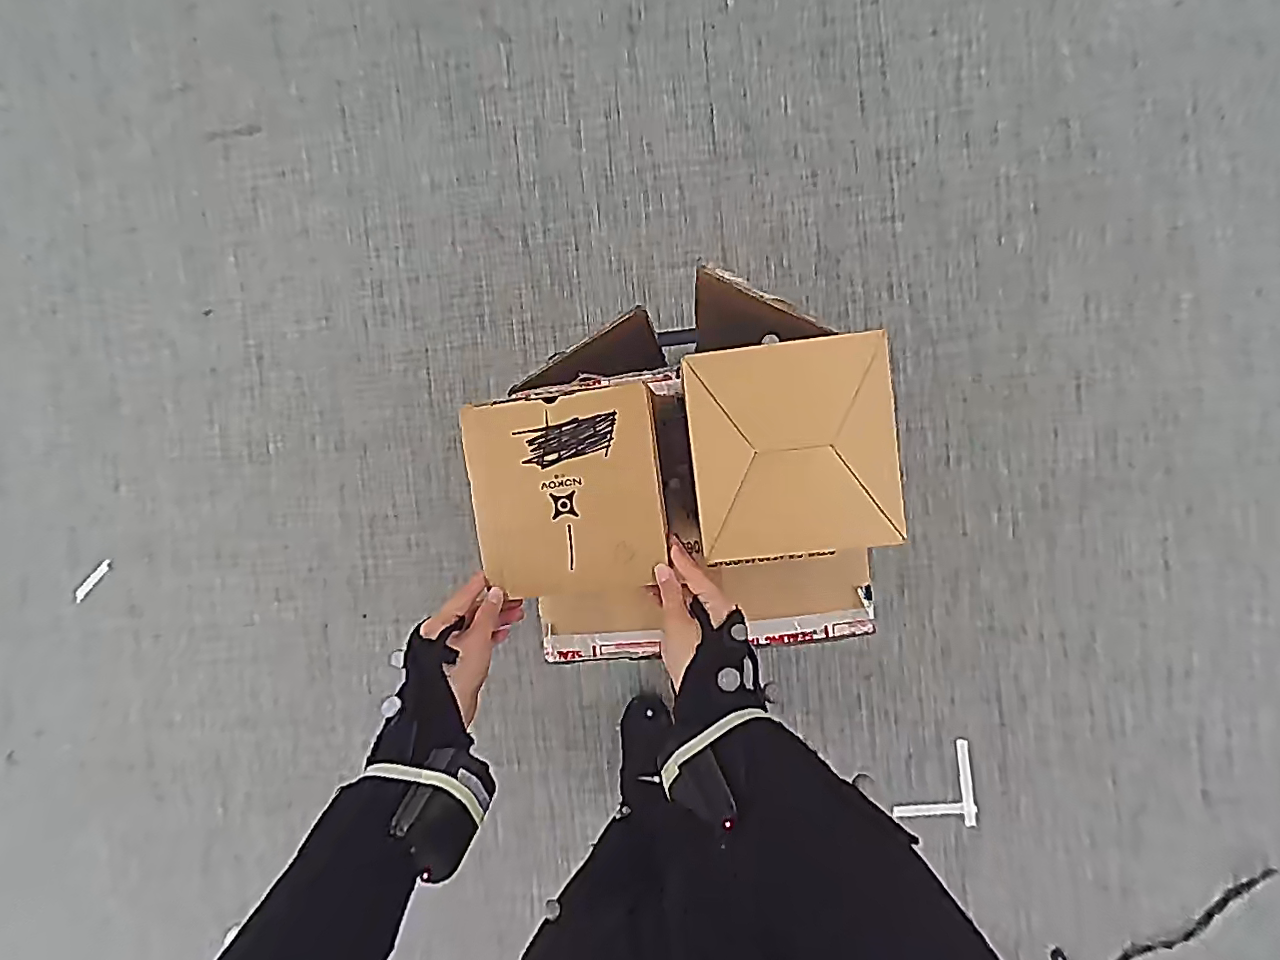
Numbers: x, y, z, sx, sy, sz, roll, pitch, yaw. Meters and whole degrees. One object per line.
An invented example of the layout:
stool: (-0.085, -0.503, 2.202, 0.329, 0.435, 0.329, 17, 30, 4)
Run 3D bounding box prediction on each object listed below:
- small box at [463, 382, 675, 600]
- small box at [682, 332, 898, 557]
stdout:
small box: (-0.057, 0.007, 0.547, 0.168, 0.176, 0.179, -7, 94, 6)
small box: (0.131, -0.029, 0.523, 0.168, 0.176, 0.179, -7, 93, 4)
